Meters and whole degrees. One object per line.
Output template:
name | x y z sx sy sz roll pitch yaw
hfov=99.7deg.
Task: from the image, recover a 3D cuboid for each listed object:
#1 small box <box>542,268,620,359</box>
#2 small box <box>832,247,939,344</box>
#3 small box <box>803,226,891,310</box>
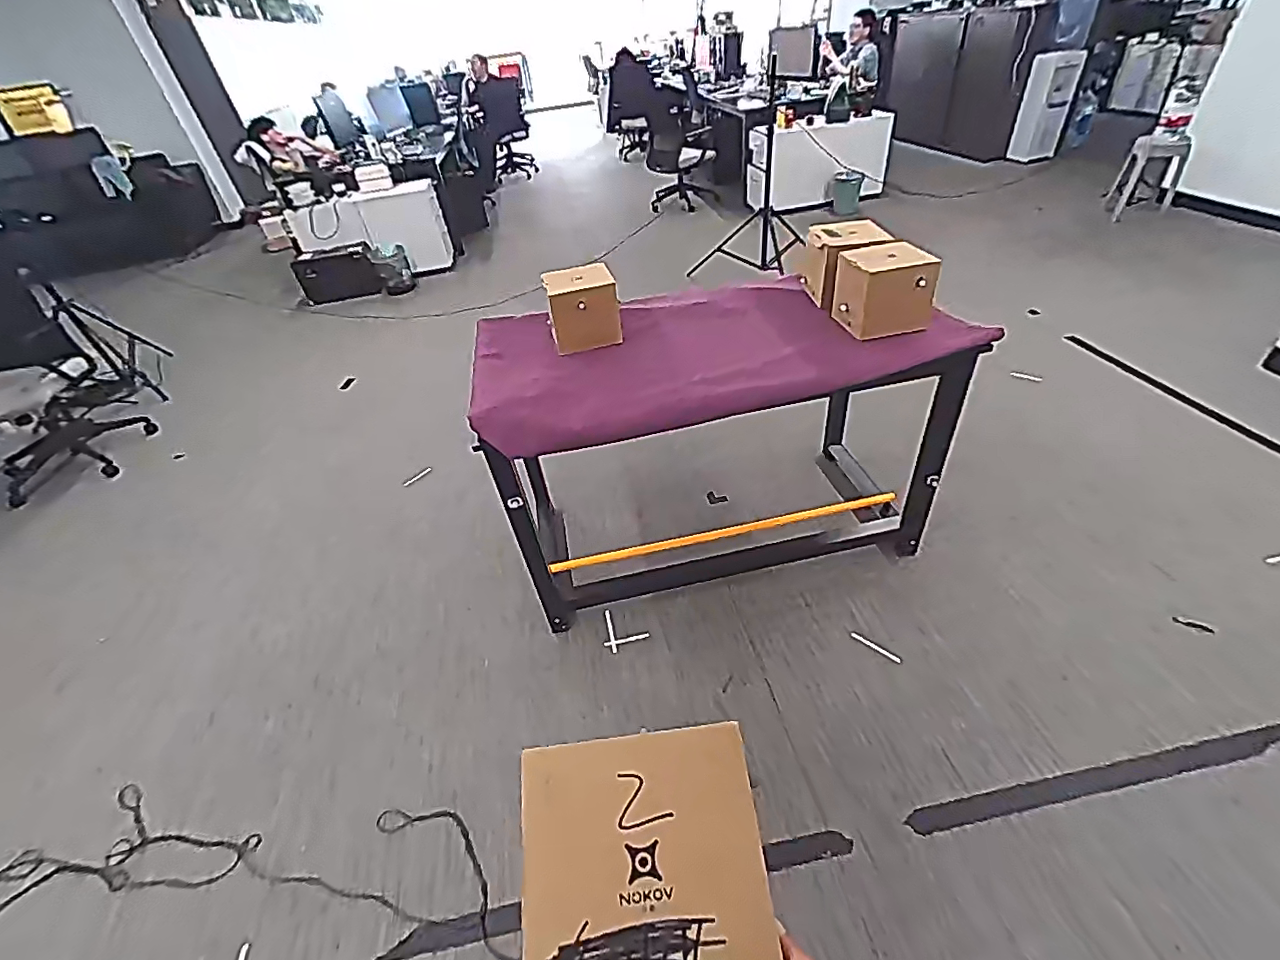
small box | -0.155 -0.448 1.457 0.179 0.176 0.168 -14 40 -7
small box | 0.597 -0.458 1.343 0.179 0.176 0.168 -11 38 -2
small box | 0.560 -0.583 1.495 0.179 0.176 0.168 -7 42 0
